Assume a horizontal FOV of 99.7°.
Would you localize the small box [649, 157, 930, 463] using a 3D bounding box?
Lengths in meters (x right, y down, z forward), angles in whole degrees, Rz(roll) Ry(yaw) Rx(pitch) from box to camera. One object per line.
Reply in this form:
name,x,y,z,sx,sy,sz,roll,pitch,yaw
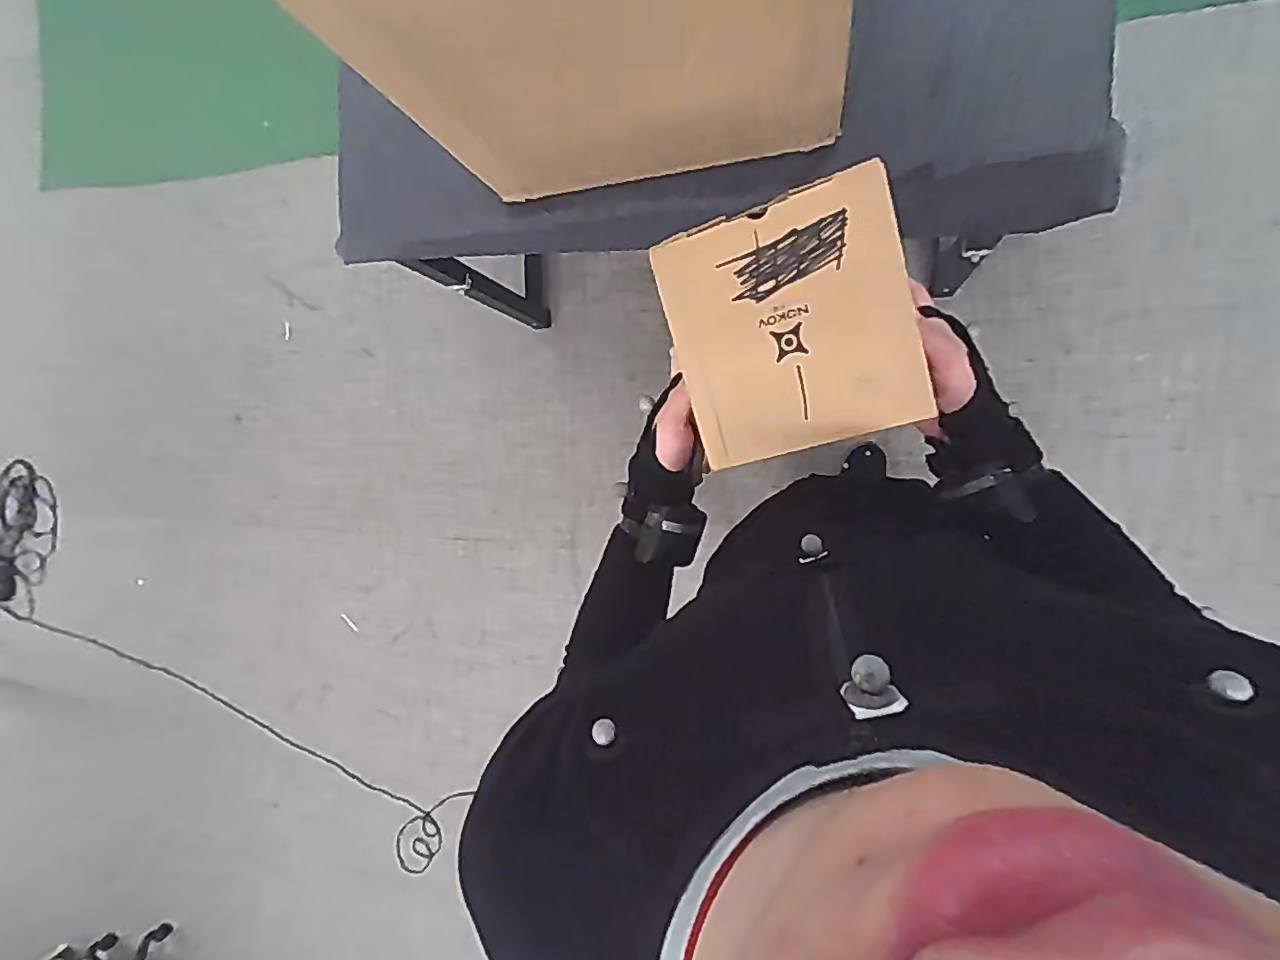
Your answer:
small box,0.124,-0.129,0.460,0.168,0.176,0.179,-14,99,19
